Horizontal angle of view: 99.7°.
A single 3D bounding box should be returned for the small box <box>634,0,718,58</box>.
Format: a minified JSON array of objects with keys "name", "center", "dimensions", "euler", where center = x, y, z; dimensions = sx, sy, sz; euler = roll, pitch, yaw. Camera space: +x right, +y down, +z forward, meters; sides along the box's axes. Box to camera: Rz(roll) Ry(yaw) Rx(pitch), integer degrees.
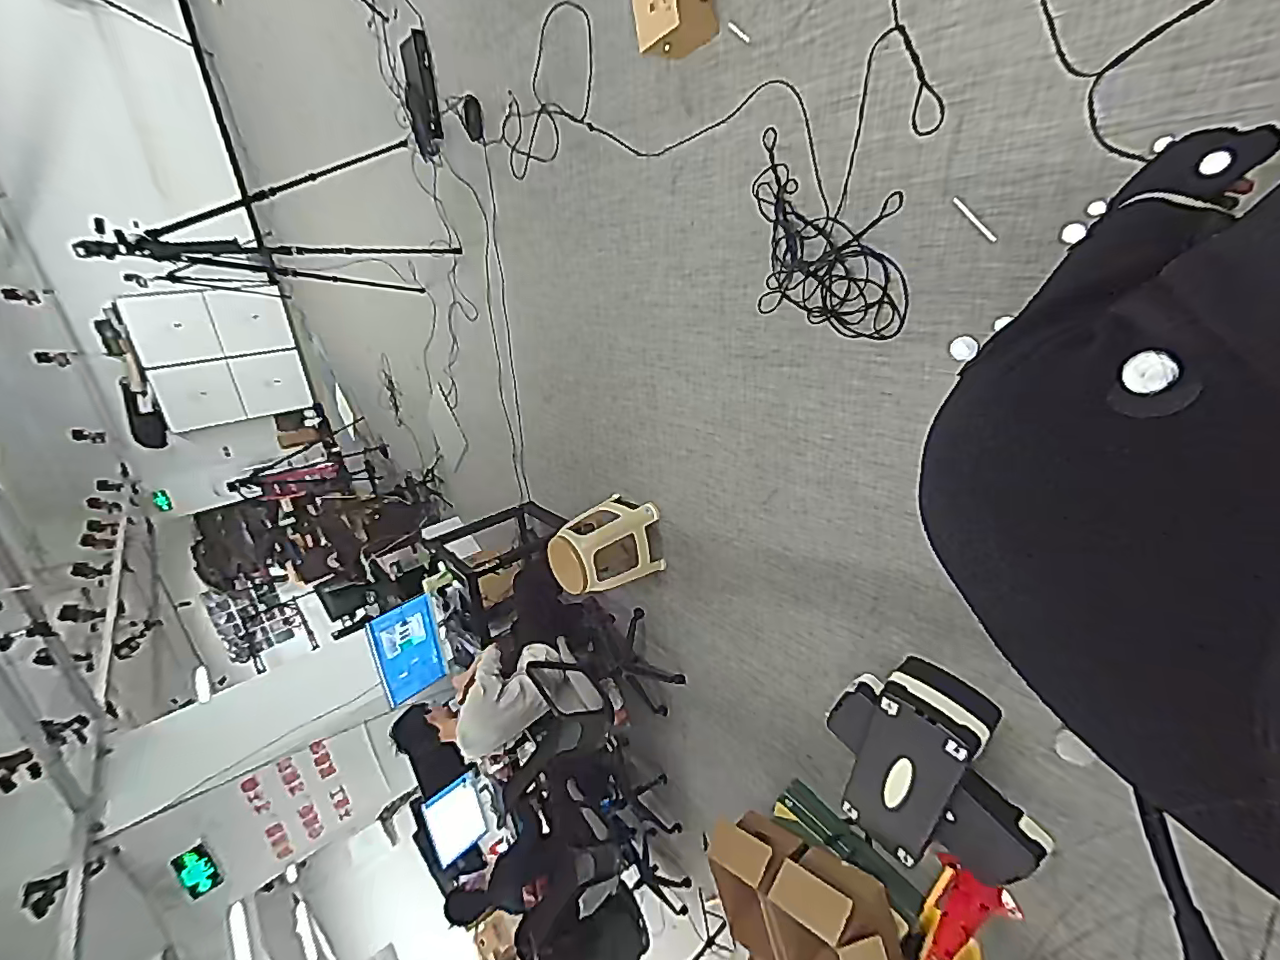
[{"name":"small box","center":[0.105,-1.380,1.588],"dimensions":[0.179,0.176,0.168],"euler":[11,118,49]}]
